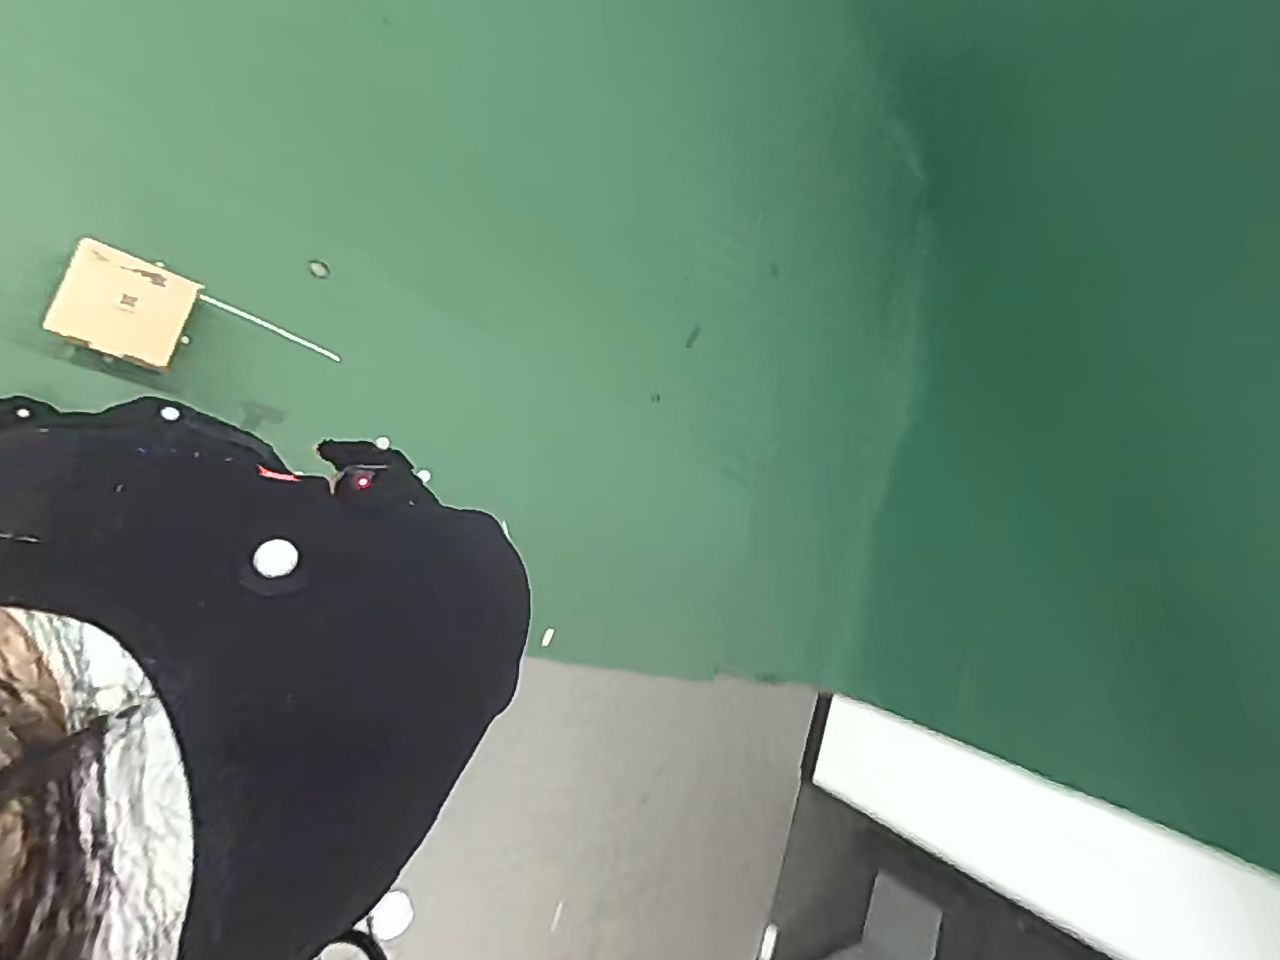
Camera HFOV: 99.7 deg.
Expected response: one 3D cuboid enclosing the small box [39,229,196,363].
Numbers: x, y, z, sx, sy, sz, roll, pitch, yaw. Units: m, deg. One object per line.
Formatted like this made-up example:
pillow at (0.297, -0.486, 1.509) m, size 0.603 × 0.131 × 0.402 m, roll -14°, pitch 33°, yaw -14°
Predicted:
small box at (-0.974, -0.334, 1.026) m, size 0.168 × 0.176 × 0.179 m, roll 24°, pitch 82°, yaw -40°
